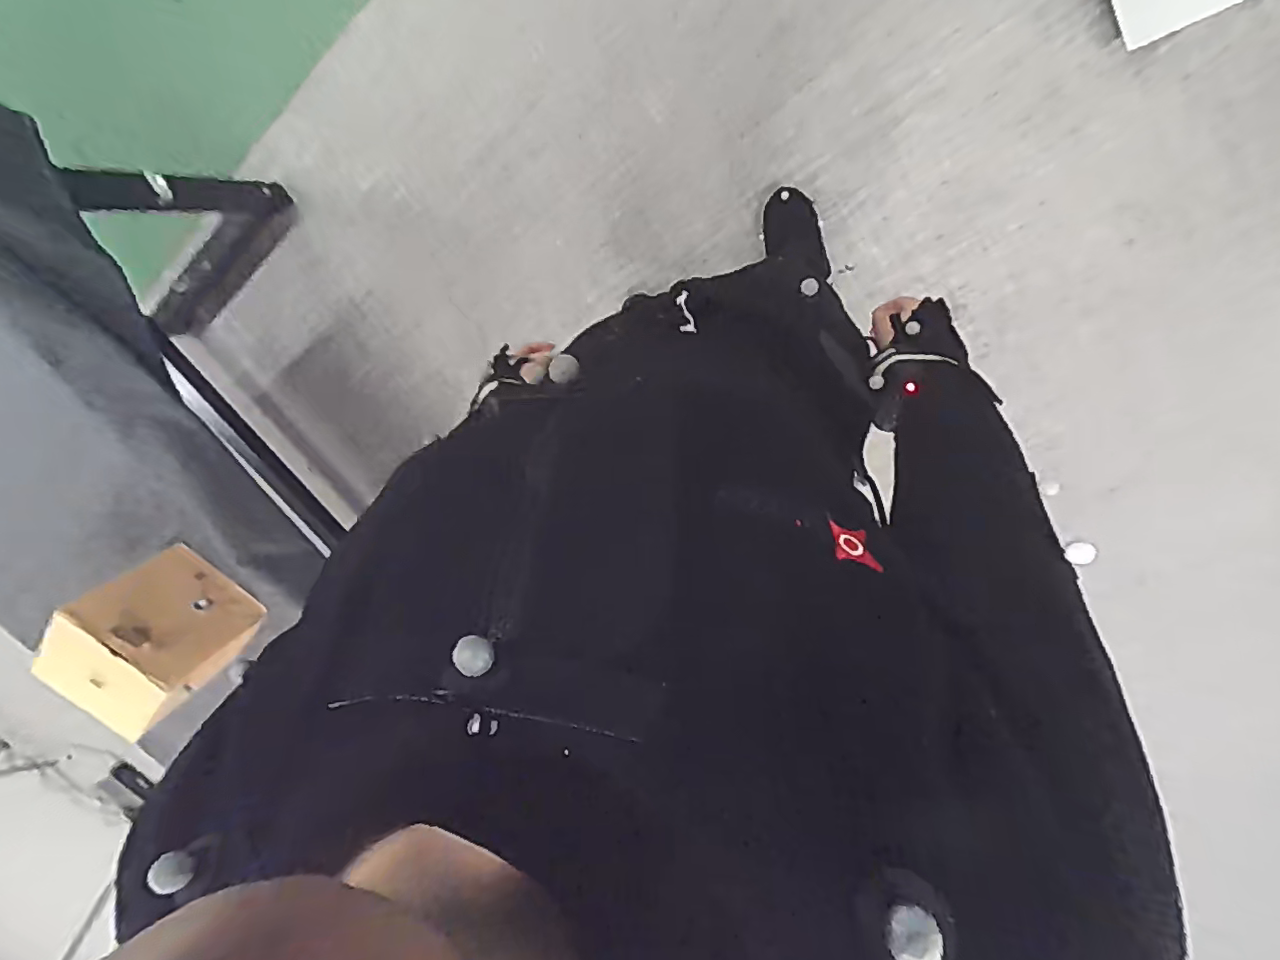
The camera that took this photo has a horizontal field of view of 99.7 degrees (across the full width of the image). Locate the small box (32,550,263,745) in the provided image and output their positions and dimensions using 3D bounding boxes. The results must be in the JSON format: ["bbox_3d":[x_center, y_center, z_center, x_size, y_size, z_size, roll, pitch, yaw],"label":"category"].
[{"bbox_3d":[-0.703,0.238,0.788,0.168,0.176,0.179,44,115,-10],"label":"small box"}]
